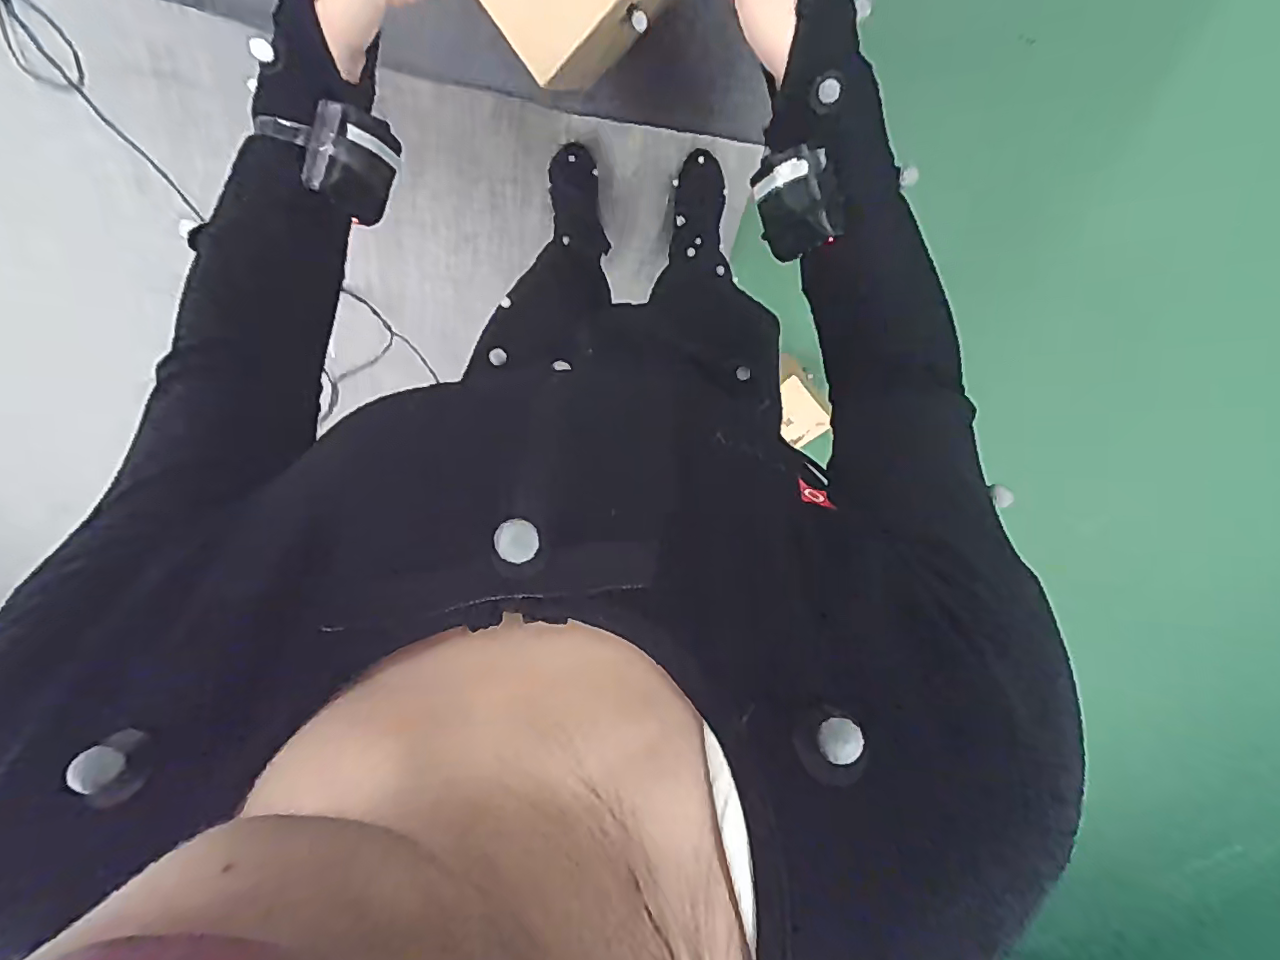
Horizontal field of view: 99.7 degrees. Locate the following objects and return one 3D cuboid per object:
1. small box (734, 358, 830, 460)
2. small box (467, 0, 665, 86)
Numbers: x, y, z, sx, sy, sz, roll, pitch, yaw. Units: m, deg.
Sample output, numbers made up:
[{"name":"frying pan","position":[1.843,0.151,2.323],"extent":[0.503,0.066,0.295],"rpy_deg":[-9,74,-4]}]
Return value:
[{"name":"small box","position":[0.355,-0.190,1.384],"extent":[0.168,0.176,0.179],"rpy_deg":[-35,113,26]},{"name":"small box","position":[-0.049,-0.418,0.380],"extent":[0.179,0.176,0.168],"rpy_deg":[-30,117,27]}]
